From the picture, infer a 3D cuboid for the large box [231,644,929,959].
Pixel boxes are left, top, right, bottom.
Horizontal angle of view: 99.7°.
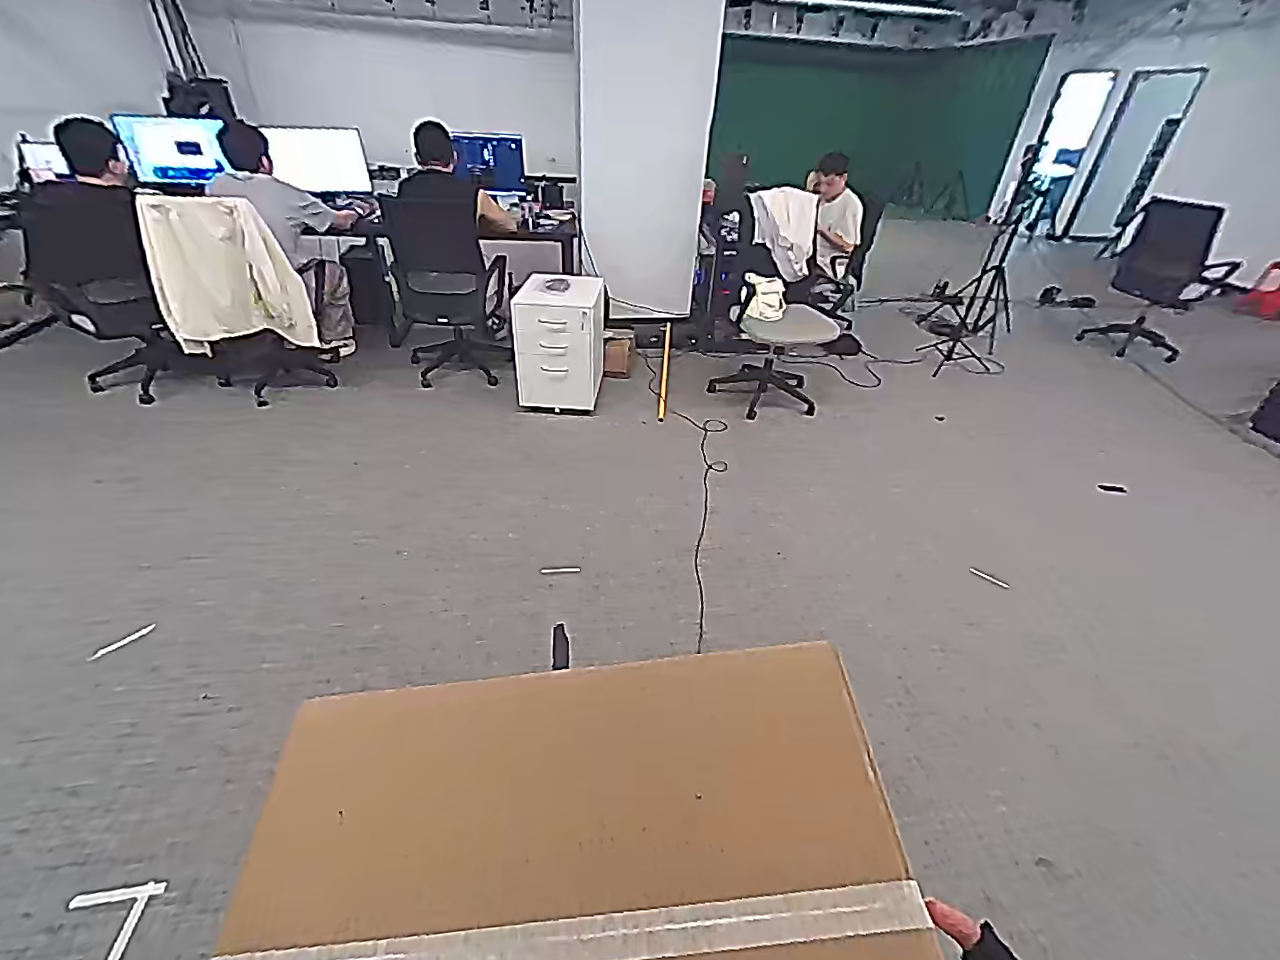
[{"bbox_3d":[-0.028,0.358,0.422,0.408,0.320,0.320,-7,47,1],"label":"large box"}]
